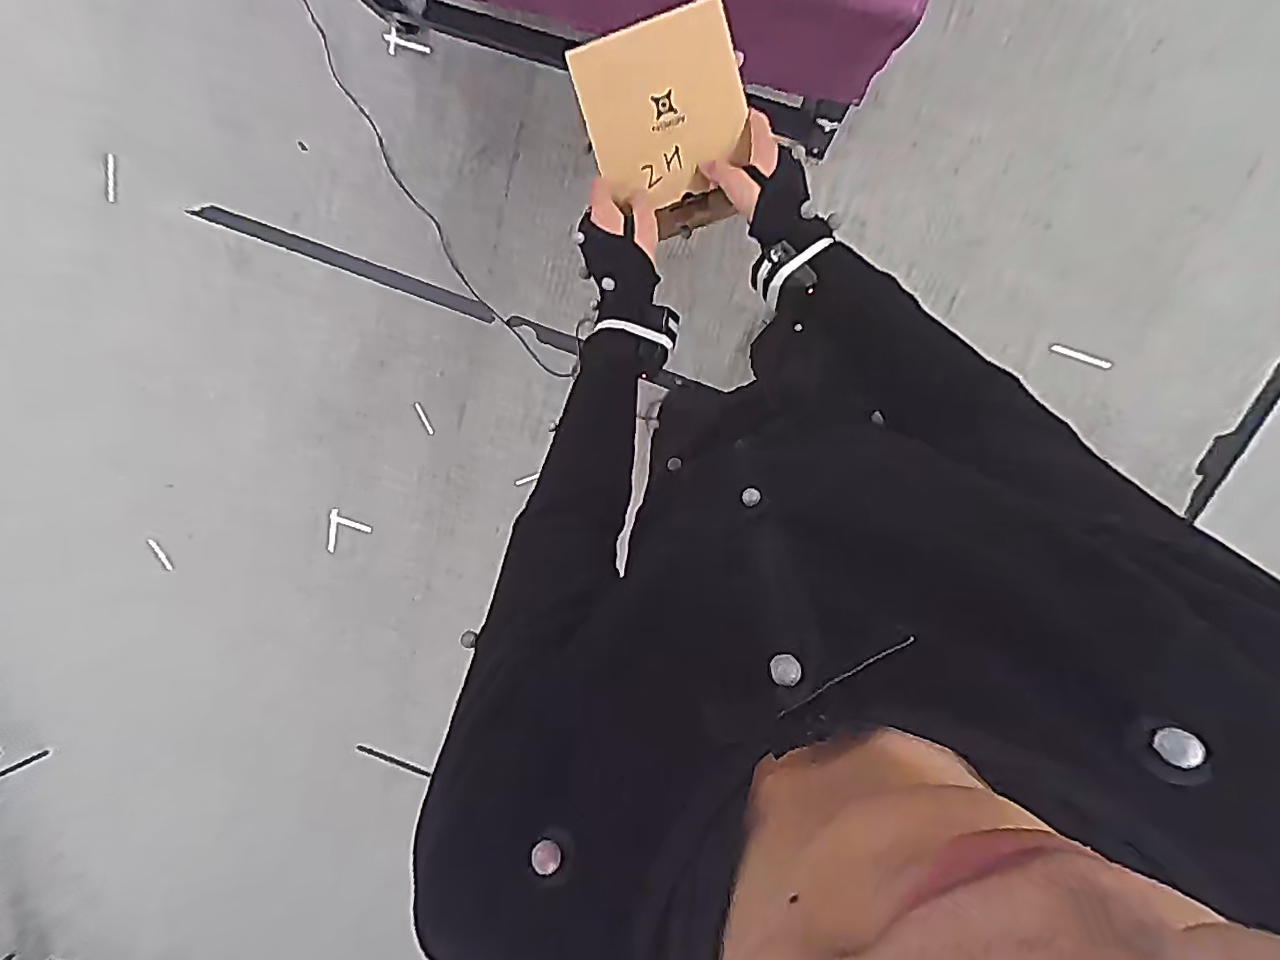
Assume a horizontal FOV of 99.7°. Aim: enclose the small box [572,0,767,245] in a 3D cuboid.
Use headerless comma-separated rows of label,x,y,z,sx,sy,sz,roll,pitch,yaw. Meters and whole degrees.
small box,0.034,-0.399,0.629,0.168,0.176,0.179,-16,102,7
